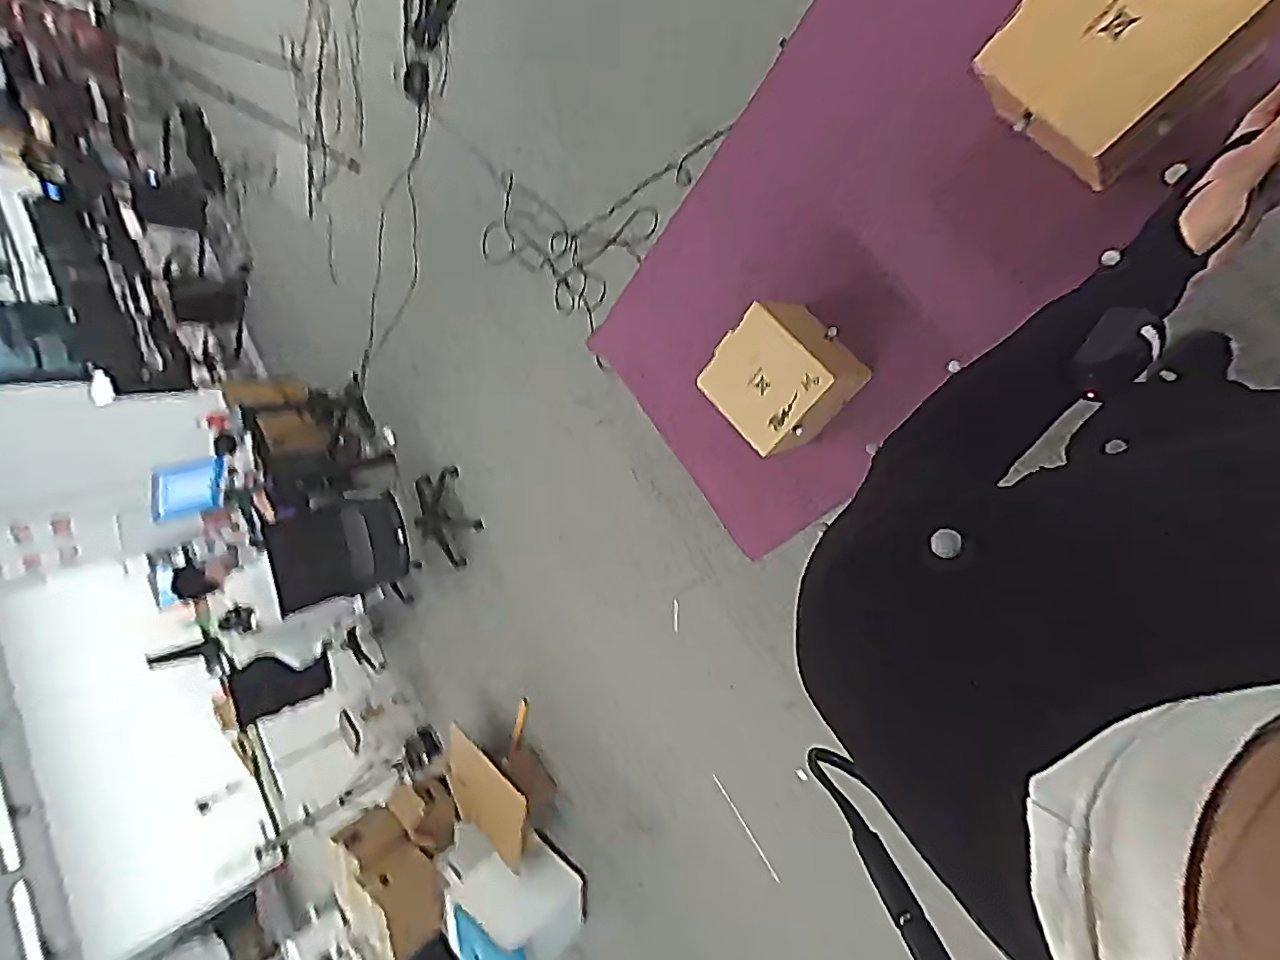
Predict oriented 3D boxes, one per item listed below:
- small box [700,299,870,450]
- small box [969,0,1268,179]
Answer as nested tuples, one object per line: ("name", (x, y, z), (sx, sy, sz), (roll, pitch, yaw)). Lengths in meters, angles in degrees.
("small box", (0.239, -0.173, 0.895), (0.179, 0.176, 0.168), (52, 130, 19))
("small box", (0.506, -0.456, 0.583), (0.179, 0.176, 0.168), (55, 131, 17))
